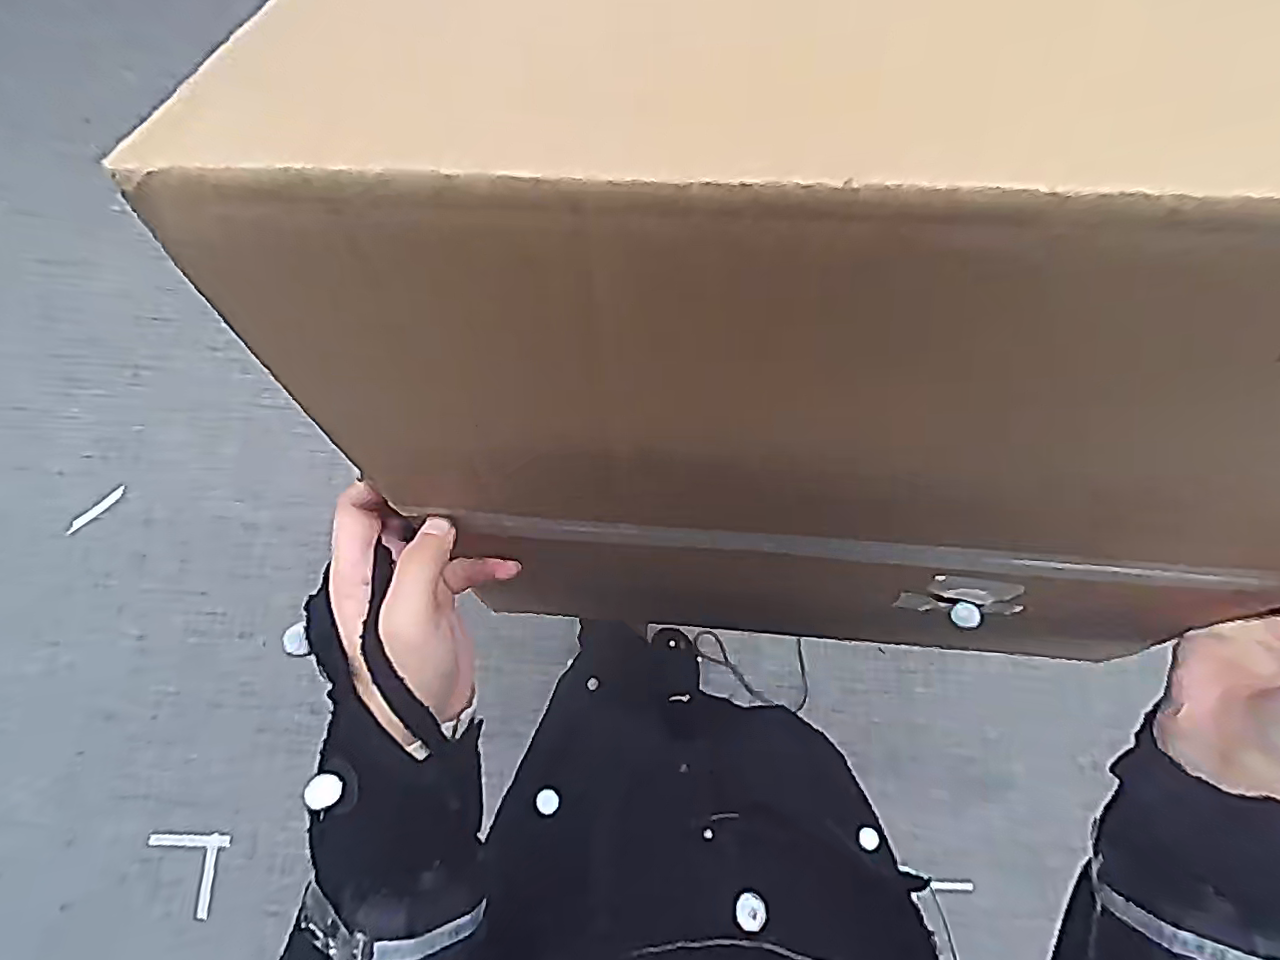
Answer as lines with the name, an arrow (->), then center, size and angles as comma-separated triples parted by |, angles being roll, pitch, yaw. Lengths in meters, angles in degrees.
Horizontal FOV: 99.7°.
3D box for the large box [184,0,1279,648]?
large box -> 0.098, -0.104, 0.318 | 0.408, 0.320, 0.320 | 3, 61, 4
